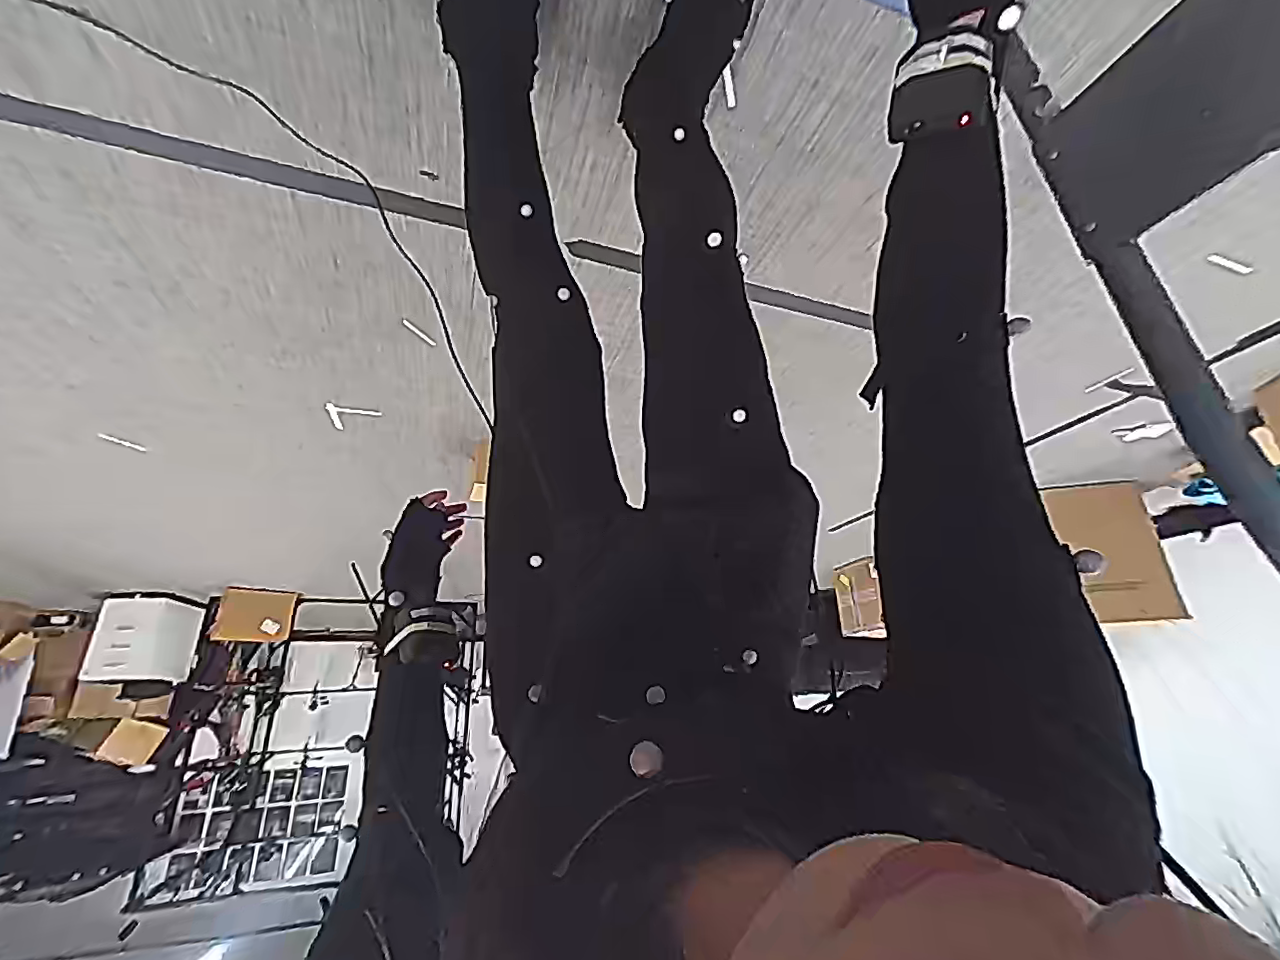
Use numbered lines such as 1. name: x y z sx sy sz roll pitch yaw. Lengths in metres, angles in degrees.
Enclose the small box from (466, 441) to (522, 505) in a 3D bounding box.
1. small box: -0.531 -0.022 1.972 0.168 0.176 0.179 8 156 -22
